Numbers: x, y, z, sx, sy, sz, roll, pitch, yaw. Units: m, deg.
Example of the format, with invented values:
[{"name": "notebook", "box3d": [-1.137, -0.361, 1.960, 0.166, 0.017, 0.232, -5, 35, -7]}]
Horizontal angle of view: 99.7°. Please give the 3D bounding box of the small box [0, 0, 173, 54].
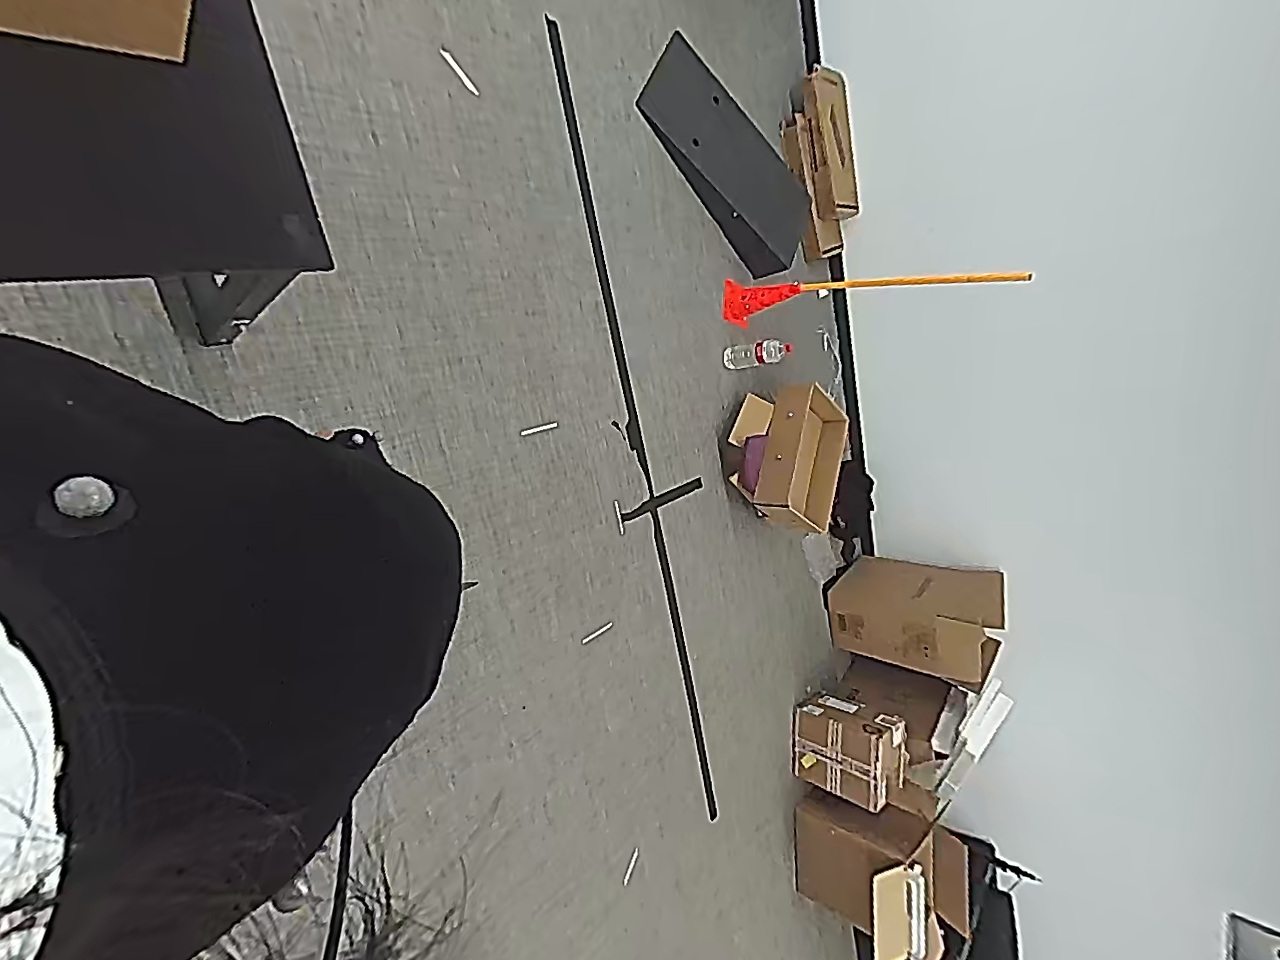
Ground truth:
[{"name": "small box", "box3d": [-0.550, -0.527, 0.482, 0.179, 0.176, 0.168, -24, 108, -42]}]
